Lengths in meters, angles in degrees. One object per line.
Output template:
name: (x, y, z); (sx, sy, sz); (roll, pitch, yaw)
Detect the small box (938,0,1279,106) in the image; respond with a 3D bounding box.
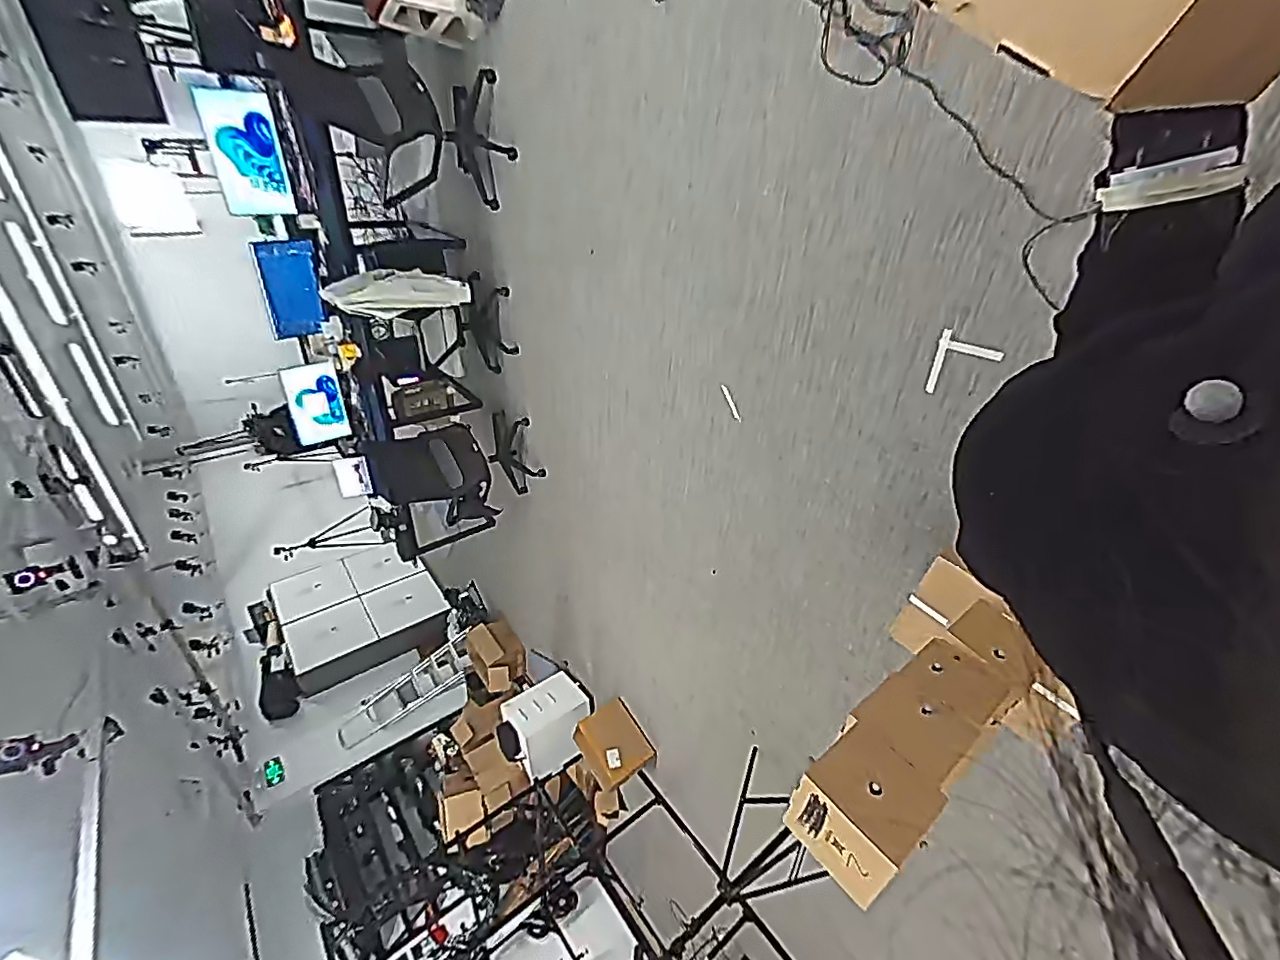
small box: (0.240, -0.290, 0.219); (0.168, 0.176, 0.179); (58, 154, 23)

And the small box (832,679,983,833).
small box: (0.505, 0.510, 1.032); (0.179, 0.176, 0.168); (36, 134, 42)

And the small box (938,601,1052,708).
small box: (0.762, 0.403, 1.202); (0.179, 0.176, 0.168); (44, 139, 35)

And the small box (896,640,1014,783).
small box: (0.637, 0.467, 1.119); (0.168, 0.176, 0.179); (29, 131, 46)
